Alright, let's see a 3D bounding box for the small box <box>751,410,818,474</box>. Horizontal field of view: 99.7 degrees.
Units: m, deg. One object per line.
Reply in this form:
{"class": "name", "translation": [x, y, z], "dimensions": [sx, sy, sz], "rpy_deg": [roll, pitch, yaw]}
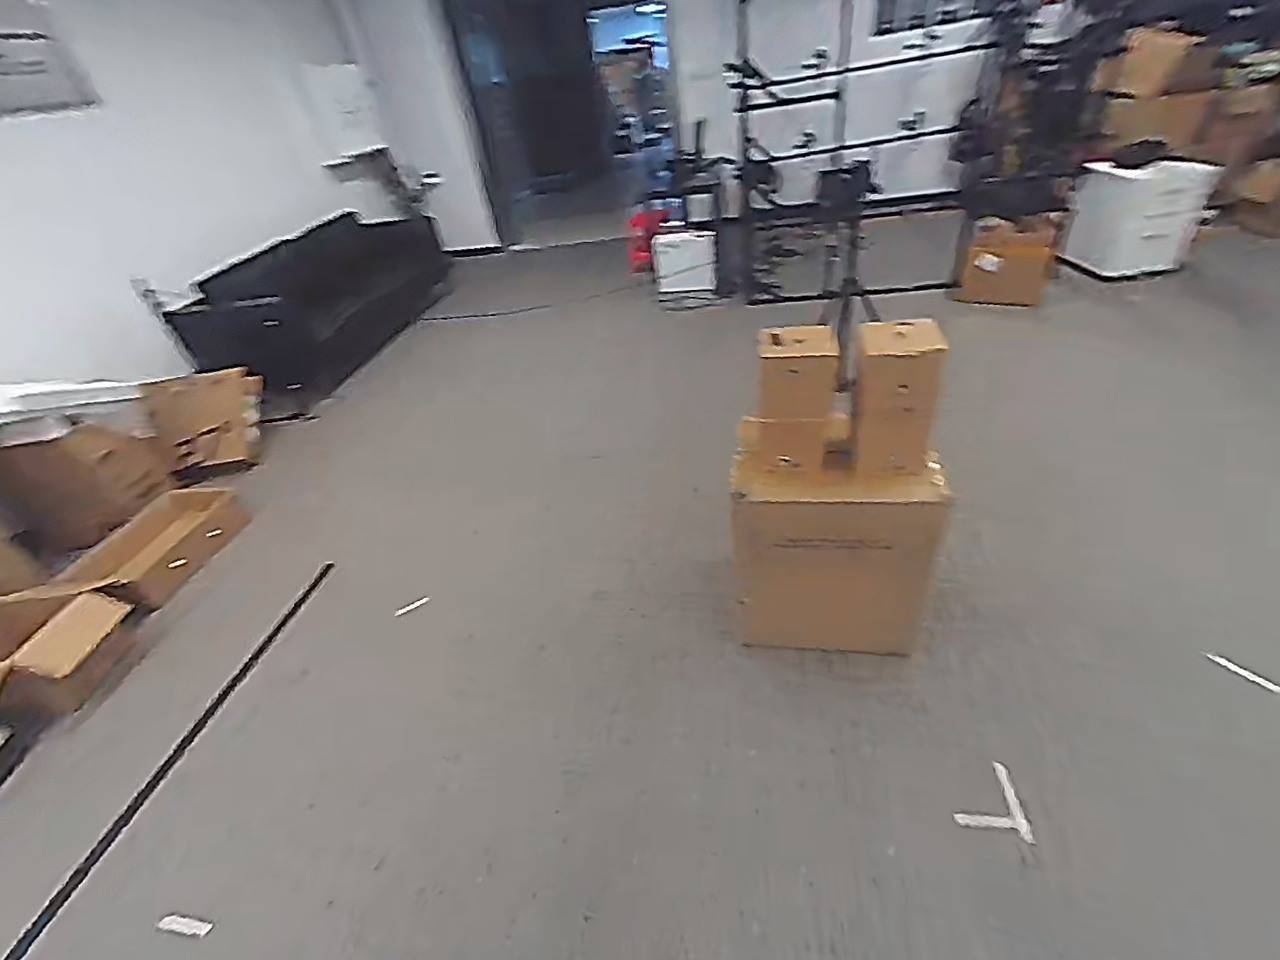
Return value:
{"class": "small box", "translation": [0.385, -0.133, 1.459], "dimensions": [0.168, 0.176, 0.179], "rpy_deg": [-1, 39, 13]}

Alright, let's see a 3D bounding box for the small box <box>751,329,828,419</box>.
{"class": "small box", "translation": [0.371, -0.265, 1.363], "dimensions": [0.179, 0.176, 0.168], "rpy_deg": [0, 39, 12]}

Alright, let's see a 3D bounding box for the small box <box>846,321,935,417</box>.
{"class": "small box", "translation": [0.593, -0.261, 1.299], "dimensions": [0.168, 0.176, 0.179], "rpy_deg": [-1, 38, 15]}

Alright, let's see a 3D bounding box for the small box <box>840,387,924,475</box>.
{"class": "small box", "translation": [0.615, -0.130, 1.396], "dimensions": [0.168, 0.176, 0.179], "rpy_deg": [-2, 38, 14]}
